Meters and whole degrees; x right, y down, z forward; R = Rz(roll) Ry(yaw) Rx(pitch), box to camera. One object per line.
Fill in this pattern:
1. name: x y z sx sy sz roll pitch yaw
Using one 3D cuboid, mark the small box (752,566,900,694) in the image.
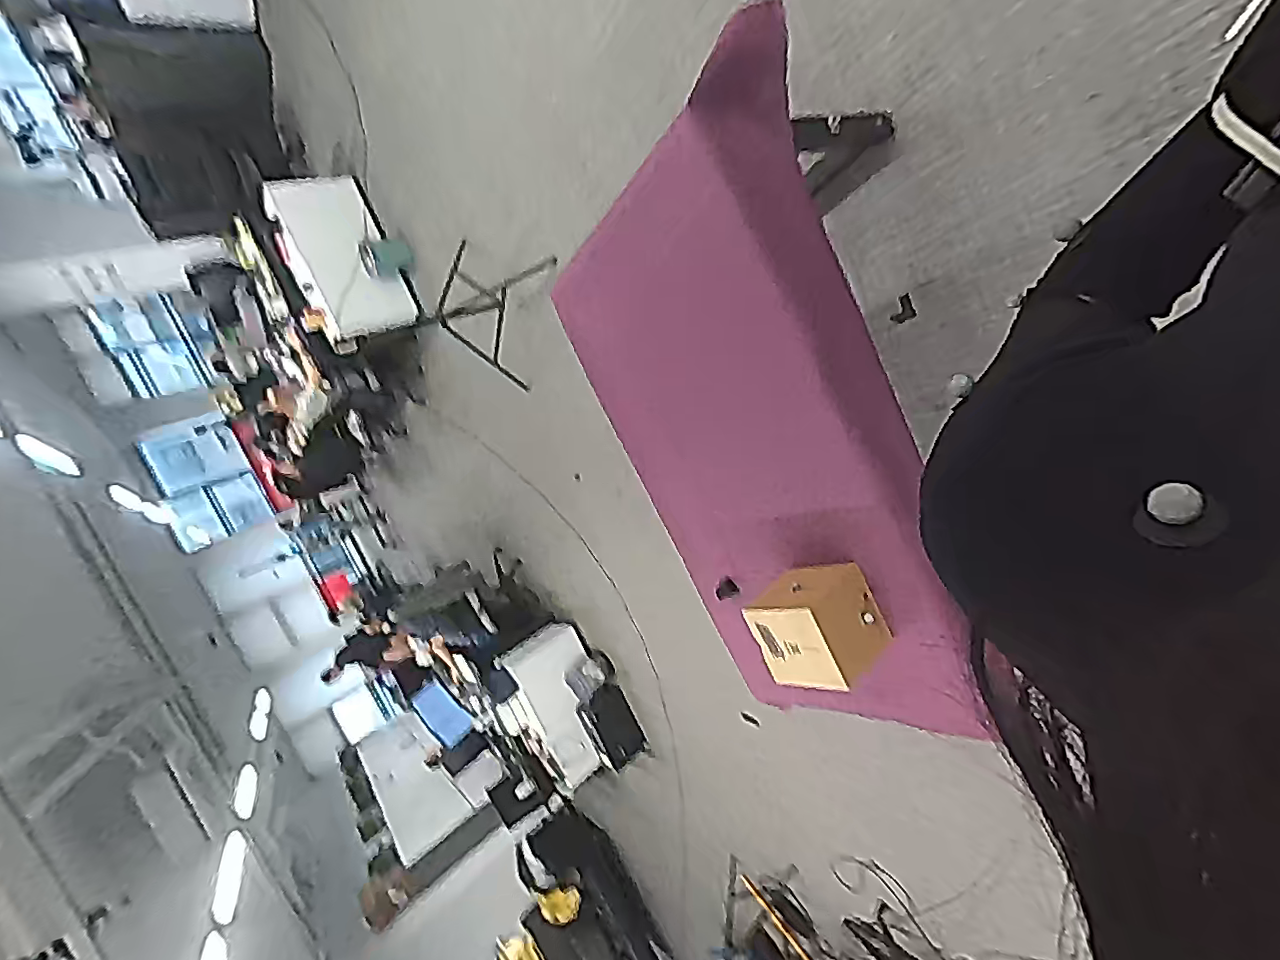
1. small box: 0.355 0.280 1.037 0.179 0.176 0.168 -24 94 56
